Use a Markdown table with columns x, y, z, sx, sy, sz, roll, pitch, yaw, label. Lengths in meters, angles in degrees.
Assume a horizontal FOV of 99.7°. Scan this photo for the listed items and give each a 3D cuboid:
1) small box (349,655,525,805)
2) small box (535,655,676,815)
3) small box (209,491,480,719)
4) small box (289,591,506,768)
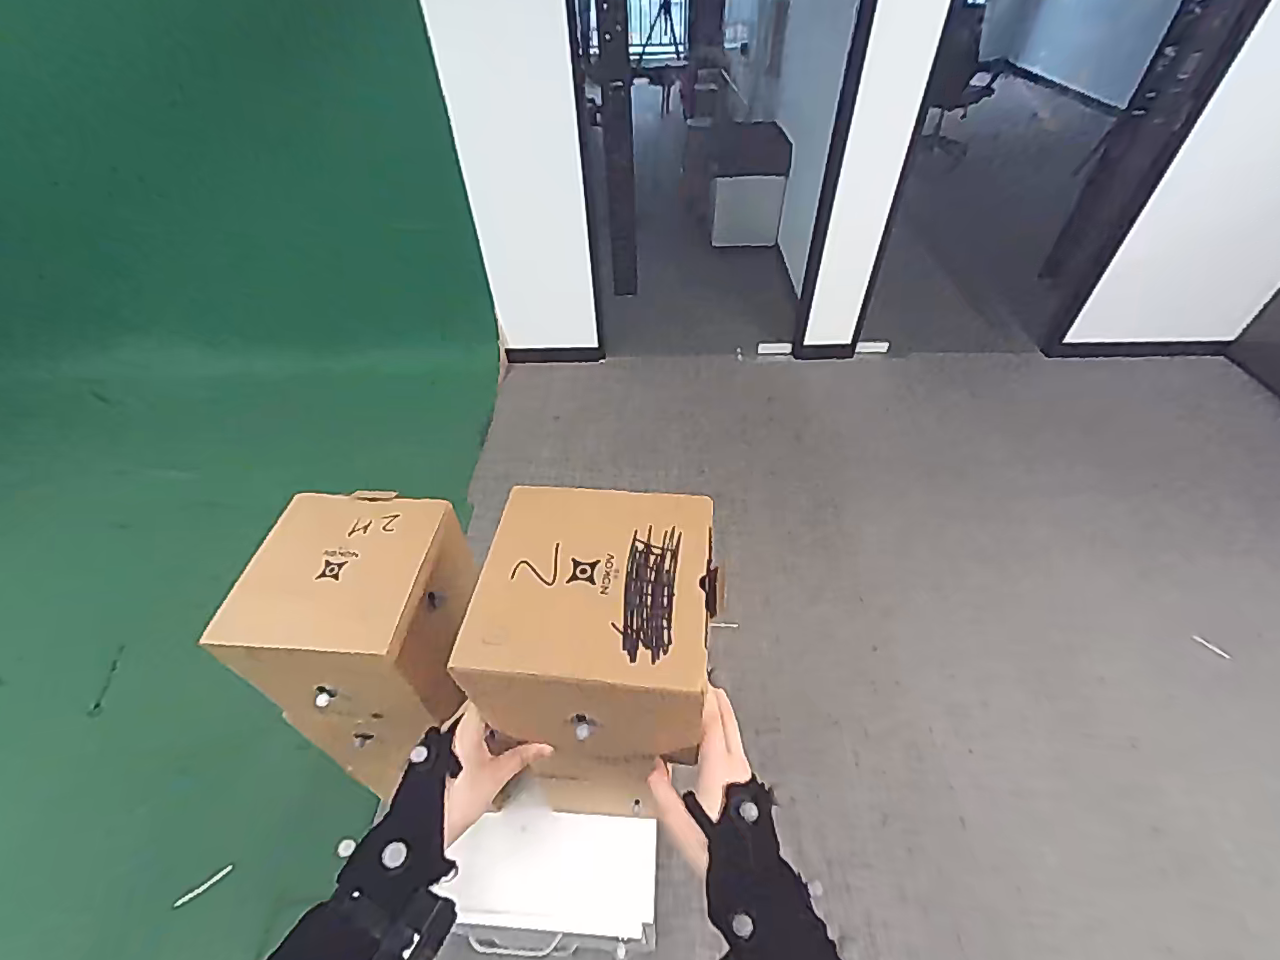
| x | y | z | sx | sy | sz | roll | pitch | yaw | label |
| --- | --- | --- | --- | --- | --- | --- | --- | --- | --- |
| -0.283 | 0.367 | 0.802 | 0.179 | 0.176 | 0.168 | 3 | 47 | 3 | small box |
| -0.037 | 0.374 | 0.790 | 0.179 | 0.176 | 0.168 | 0 | 45 | 5 | small box |
| -0.281 | 0.134 | 0.569 | 0.168 | 0.176 | 0.179 | 4 | 47 | 2 | small box |
| -0.286 | 0.250 | 0.685 | 0.179 | 0.176 | 0.168 | 3 | 47 | 2 | small box |
